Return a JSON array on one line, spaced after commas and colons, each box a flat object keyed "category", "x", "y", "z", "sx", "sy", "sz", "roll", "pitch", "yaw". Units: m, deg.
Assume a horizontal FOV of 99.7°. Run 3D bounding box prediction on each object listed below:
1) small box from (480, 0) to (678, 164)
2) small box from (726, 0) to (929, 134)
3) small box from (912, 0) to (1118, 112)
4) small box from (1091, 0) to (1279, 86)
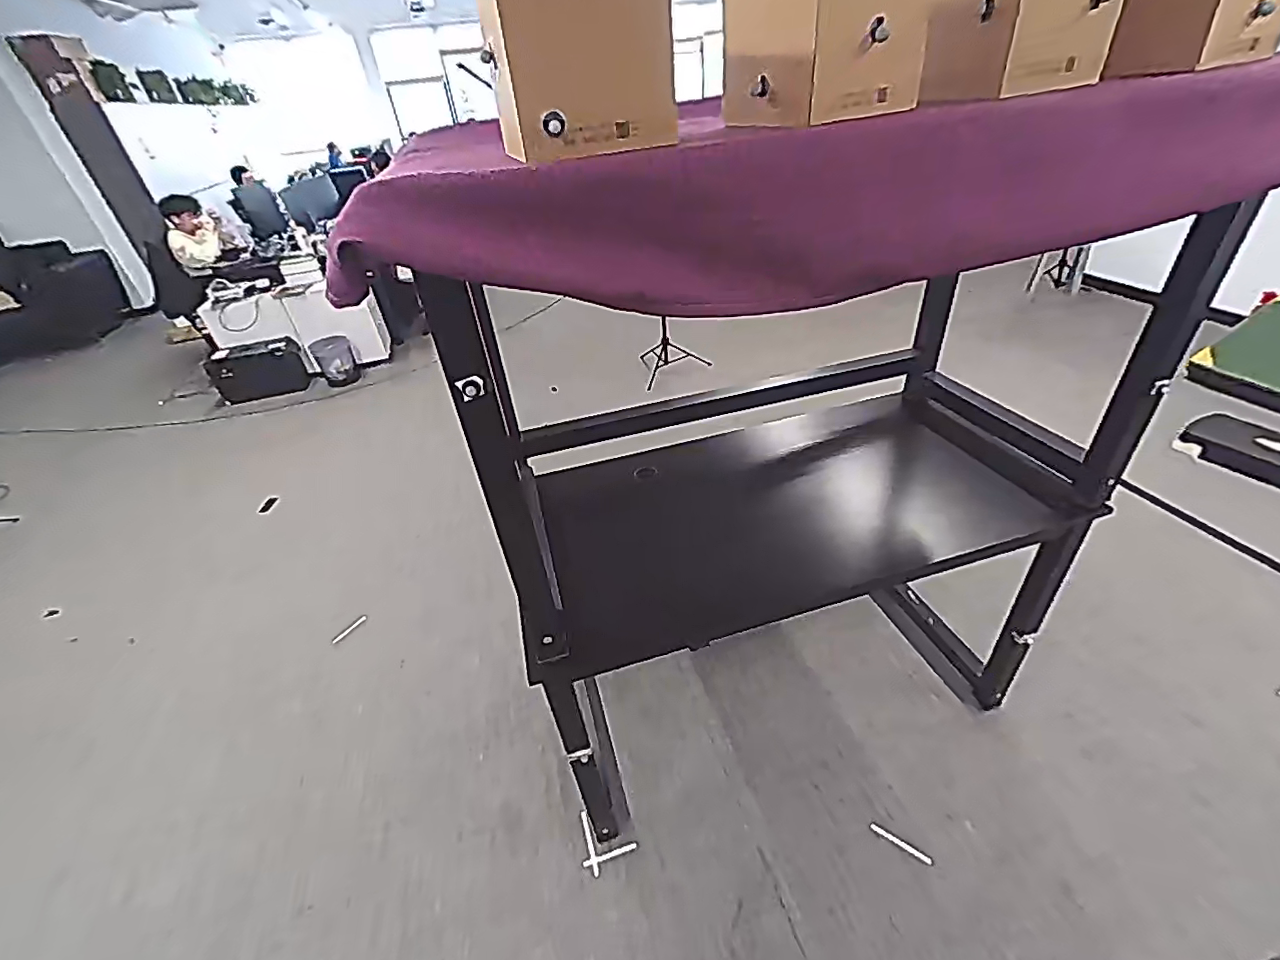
[{"category": "small box", "x": -0.065, "y": -0.445, "z": 0.579, "sx": 0.168, "sy": 0.176, "sz": 0.179, "roll": -15, "pitch": 35, "yaw": -12}, {"category": "small box", "x": 0.219, "y": -0.521, "z": 0.641, "sx": 0.168, "sy": 0.176, "sz": 0.179, "roll": -20, "pitch": 38, "yaw": -18}, {"category": "small box", "x": 0.475, "y": -0.587, "z": 0.696, "sx": 0.168, "sy": 0.176, "sz": 0.179, "roll": -15, "pitch": 36, "yaw": -13}, {"category": "small box", "x": 0.732, "y": -0.643, "z": 0.727, "sx": 0.168, "sy": 0.176, "sz": 0.179, "roll": -18, "pitch": 36, "yaw": -15}]
